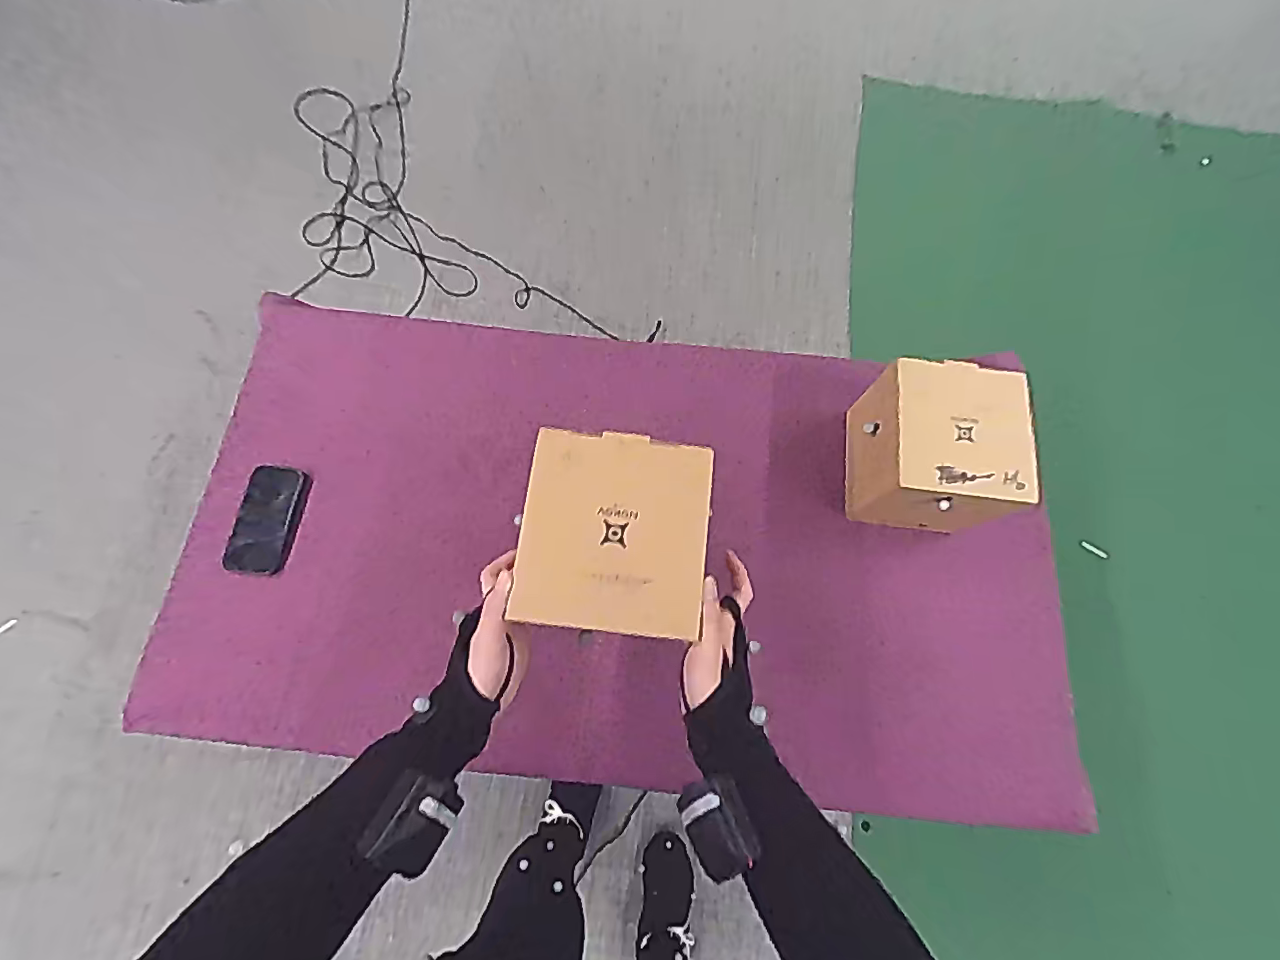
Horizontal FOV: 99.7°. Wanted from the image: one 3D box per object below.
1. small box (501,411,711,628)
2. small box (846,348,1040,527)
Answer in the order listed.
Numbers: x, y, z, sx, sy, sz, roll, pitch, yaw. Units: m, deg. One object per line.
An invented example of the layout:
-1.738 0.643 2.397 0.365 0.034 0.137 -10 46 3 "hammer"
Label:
-0.030 0.051 0.550 0.168 0.176 0.179 7 75 -1 "small box"
0.386 -0.048 0.722 0.168 0.176 0.179 7 72 2 "small box"
